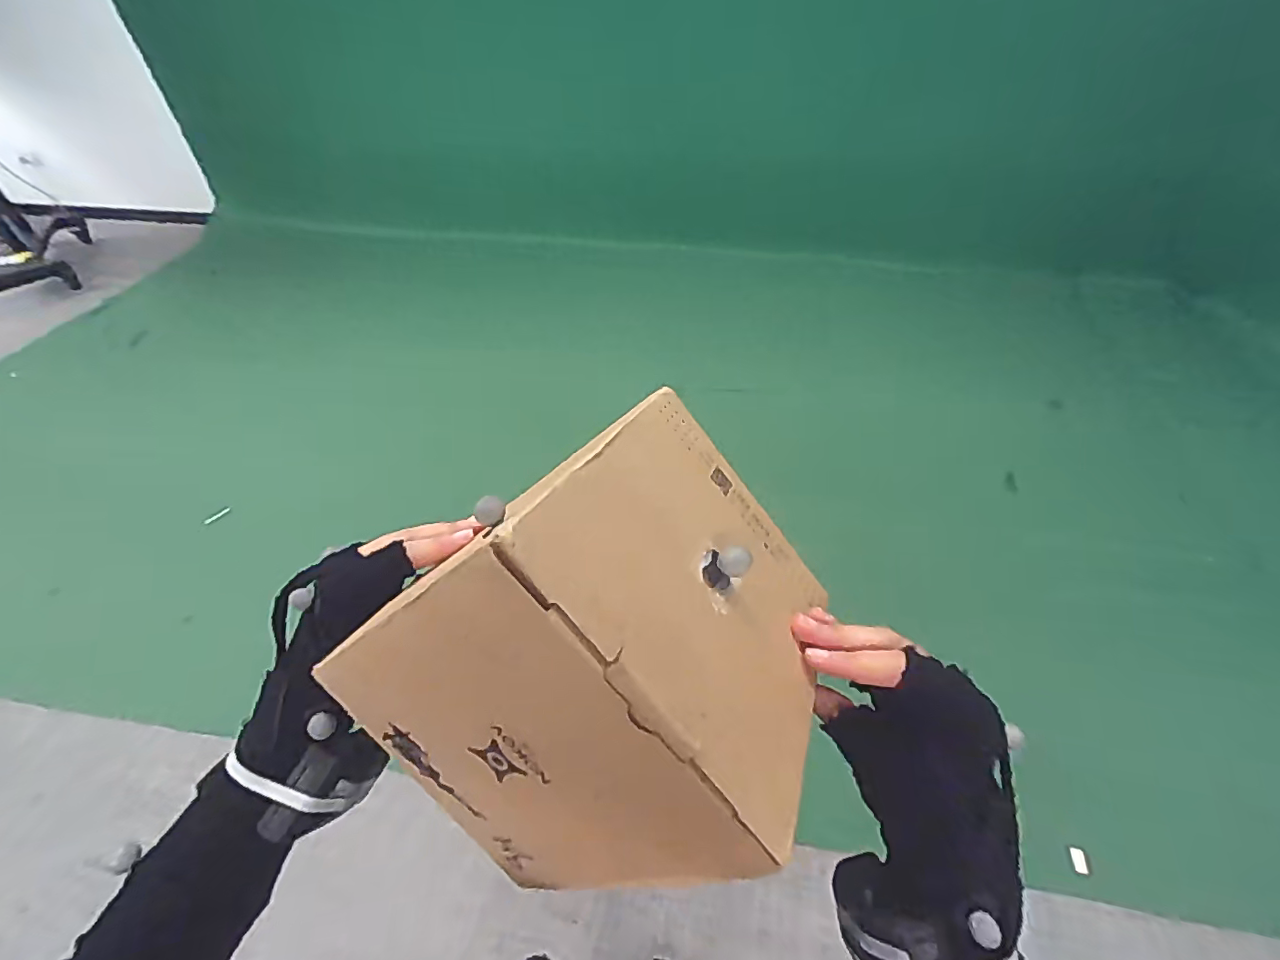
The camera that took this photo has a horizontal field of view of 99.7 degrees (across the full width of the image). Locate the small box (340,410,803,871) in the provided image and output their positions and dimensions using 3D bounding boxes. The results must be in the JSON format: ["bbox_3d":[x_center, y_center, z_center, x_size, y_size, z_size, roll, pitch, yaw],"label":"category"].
[{"bbox_3d":[-0.021,0.084,0.317,0.168,0.179,0.176,52,33,-7],"label":"small box"}]
